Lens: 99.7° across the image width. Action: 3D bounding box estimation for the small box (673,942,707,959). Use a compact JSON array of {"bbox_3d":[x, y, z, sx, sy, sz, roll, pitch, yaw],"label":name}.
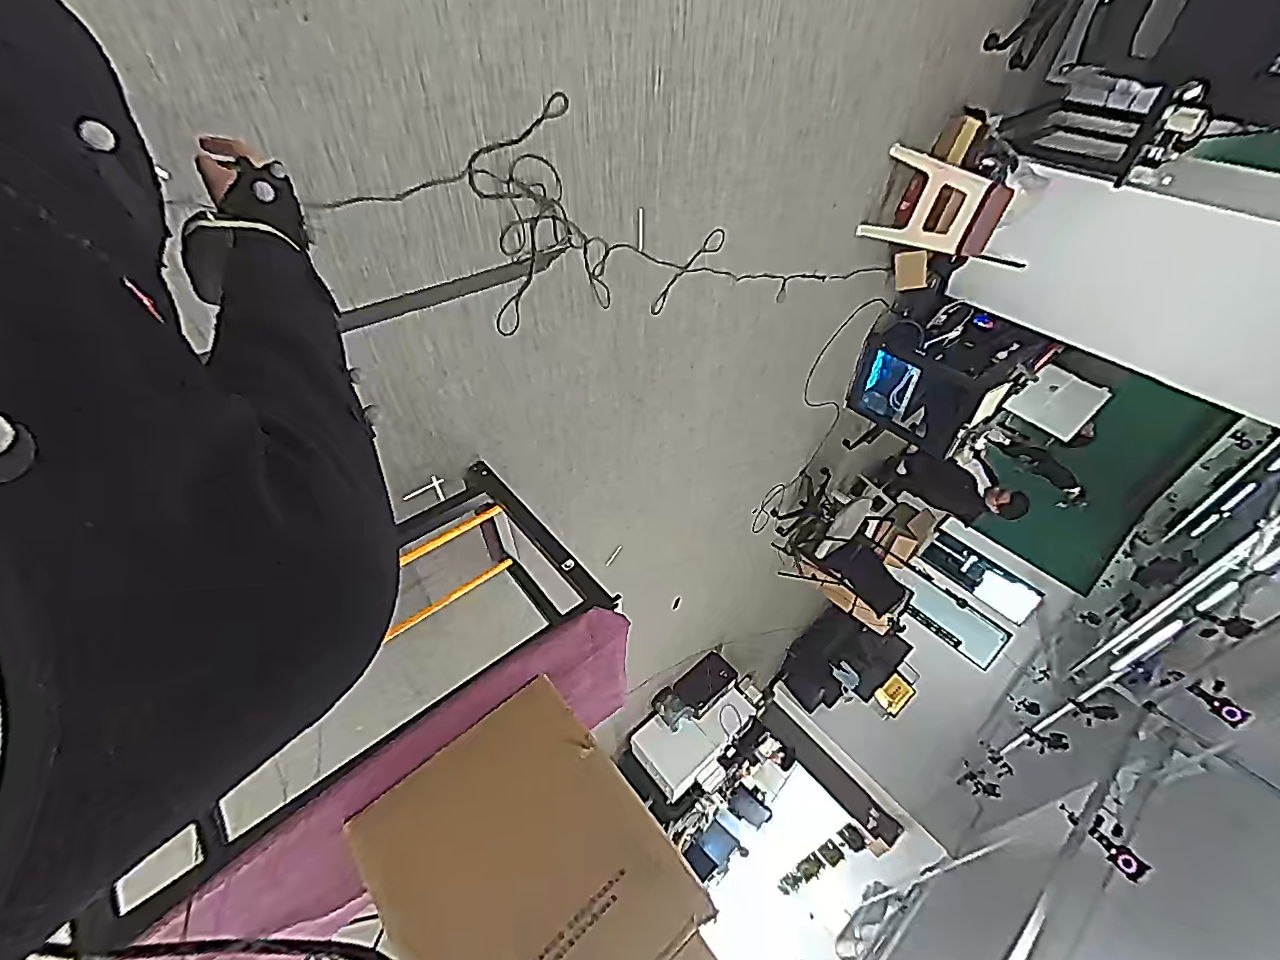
[{"bbox_3d":[0.104,1.133,1.150,0.168,0.176,0.179,-32,144,-26],"label":"small box"}]
